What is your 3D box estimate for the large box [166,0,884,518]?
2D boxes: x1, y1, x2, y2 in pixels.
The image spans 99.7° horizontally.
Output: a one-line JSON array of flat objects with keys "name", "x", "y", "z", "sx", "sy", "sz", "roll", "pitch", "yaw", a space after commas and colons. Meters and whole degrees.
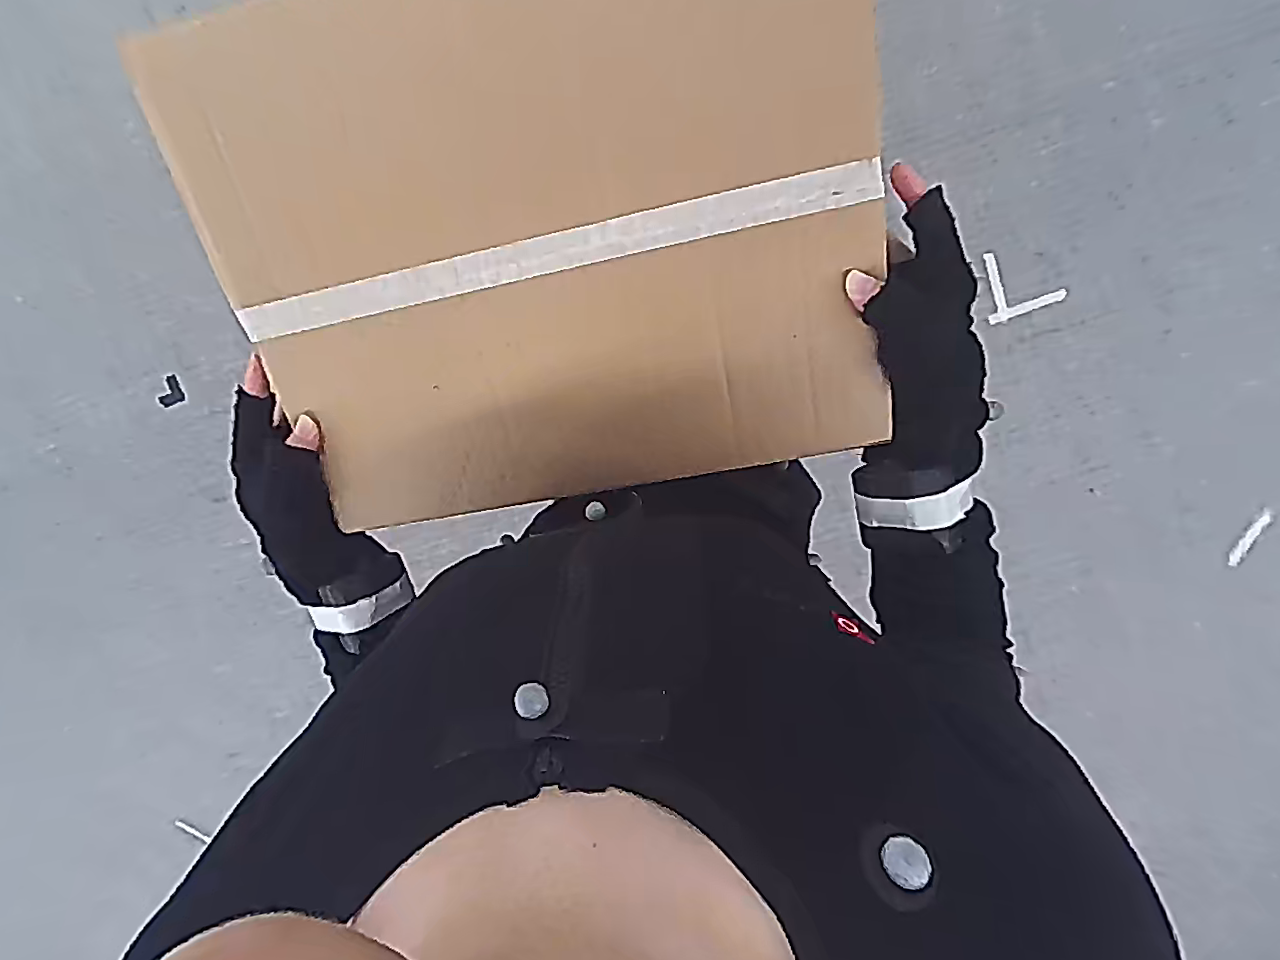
[{"name": "large box", "x": -0.051, "y": -0.197, "z": 0.480, "sx": 0.408, "sy": 0.320, "sz": 0.320, "roll": -10, "pitch": 111, "yaw": 8}]
